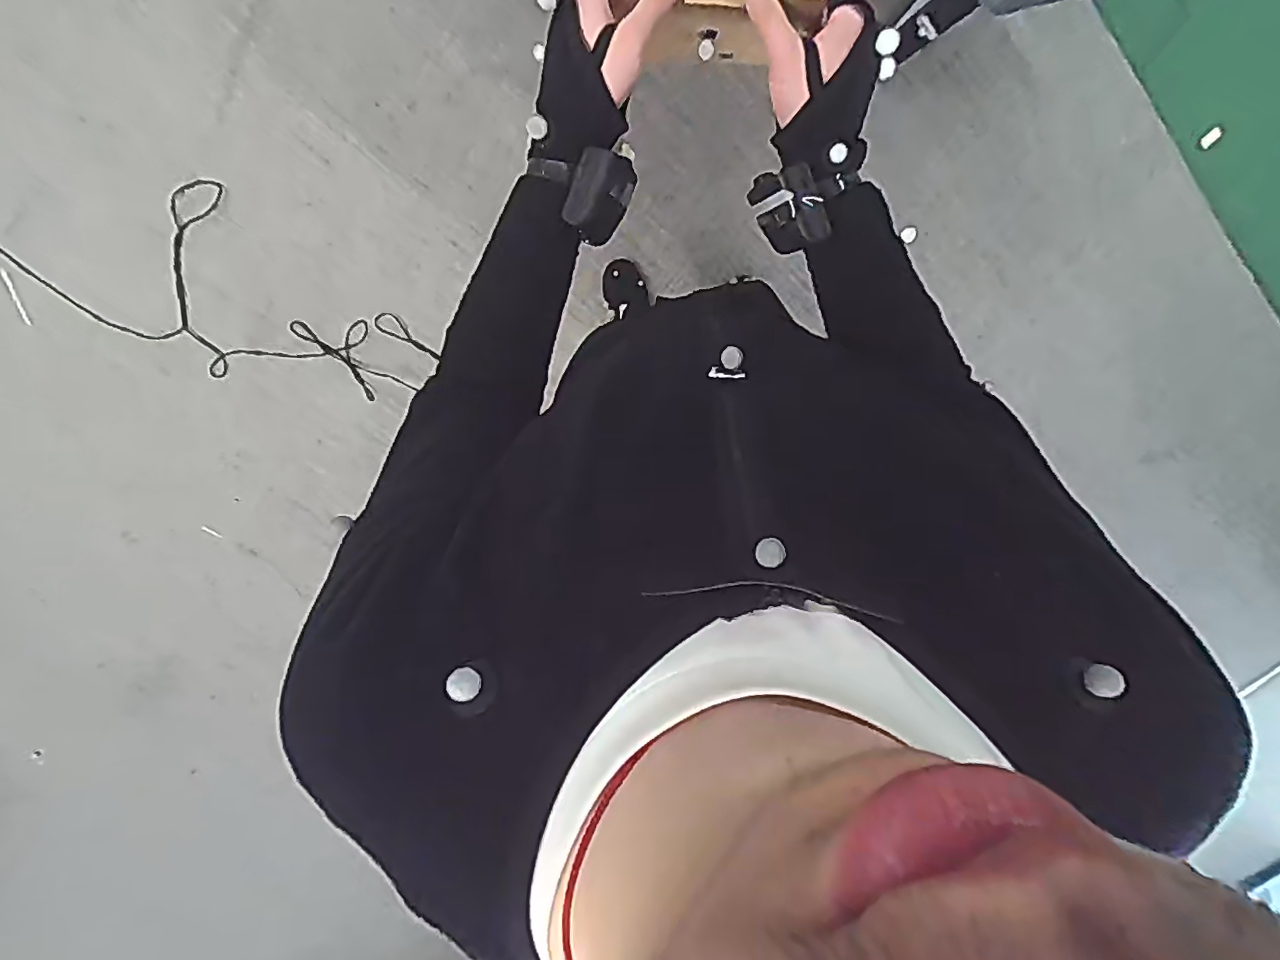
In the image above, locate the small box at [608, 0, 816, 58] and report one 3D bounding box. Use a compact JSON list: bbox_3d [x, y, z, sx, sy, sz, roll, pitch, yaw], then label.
[{"bbox_3d":[0.064,-0.462,0.430,0.168,0.176,0.179,2,113,4],"label":"small box"}]
